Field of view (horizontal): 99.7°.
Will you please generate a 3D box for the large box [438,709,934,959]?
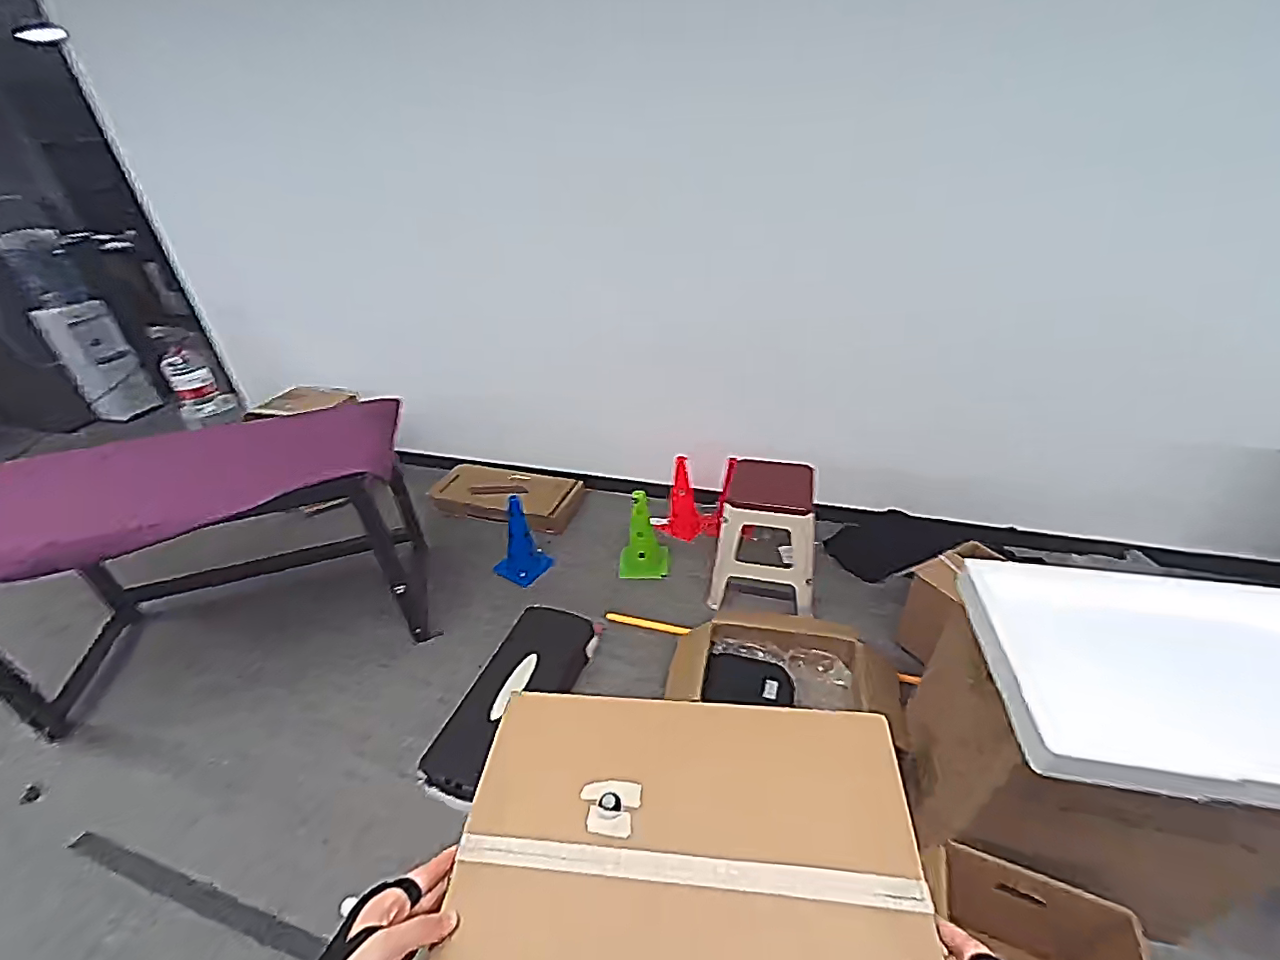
[{"bbox_3d":[0.053,0.465,0.566,0.408,0.320,0.320,-2,37,9],"label":"large box"}]
